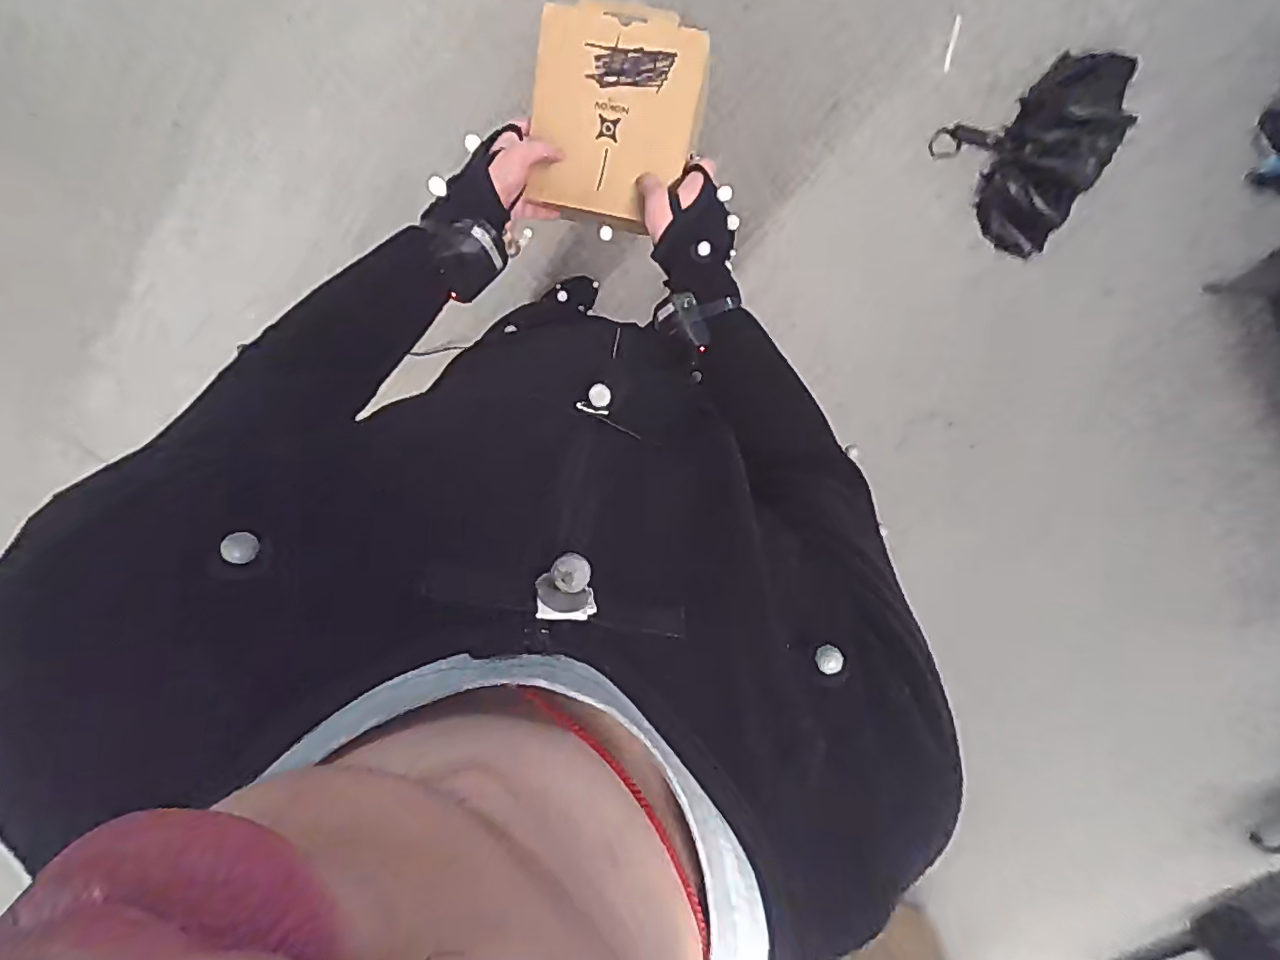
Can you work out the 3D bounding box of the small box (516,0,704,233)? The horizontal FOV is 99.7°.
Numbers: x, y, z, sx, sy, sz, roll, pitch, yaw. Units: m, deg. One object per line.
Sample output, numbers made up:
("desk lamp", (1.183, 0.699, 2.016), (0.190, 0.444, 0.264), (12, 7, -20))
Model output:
("small box", (-0.028, -0.394, 0.612), (0.168, 0.176, 0.179), (12, 110, 2))
